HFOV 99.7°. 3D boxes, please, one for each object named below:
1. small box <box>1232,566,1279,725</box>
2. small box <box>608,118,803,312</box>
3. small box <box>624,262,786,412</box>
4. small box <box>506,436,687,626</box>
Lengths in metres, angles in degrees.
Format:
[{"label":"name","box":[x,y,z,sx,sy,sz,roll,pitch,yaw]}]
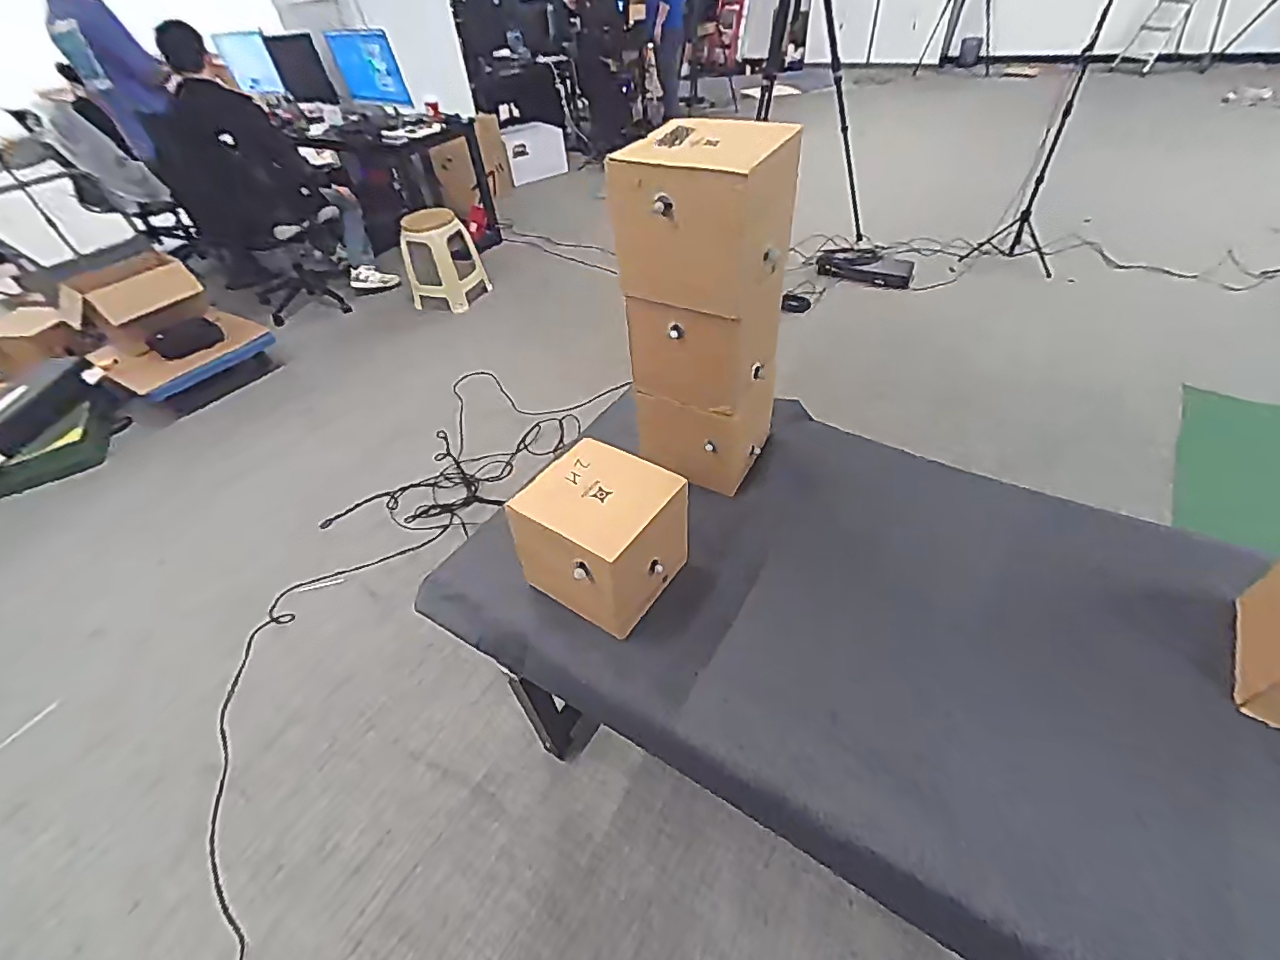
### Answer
[{"label":"small box","box":[0.772,0.174,0.558,0.168,0.176,0.179,24,54,28]},{"label":"small box","box":[0.082,-0.332,0.678,0.179,0.176,0.168,22,53,24]},{"label":"small box","box":[0.097,-0.225,0.803,0.179,0.176,0.168,20,53,22]},{"label":"small box","box":[-0.051,0.073,0.745,0.179,0.176,0.168,24,49,27]}]
